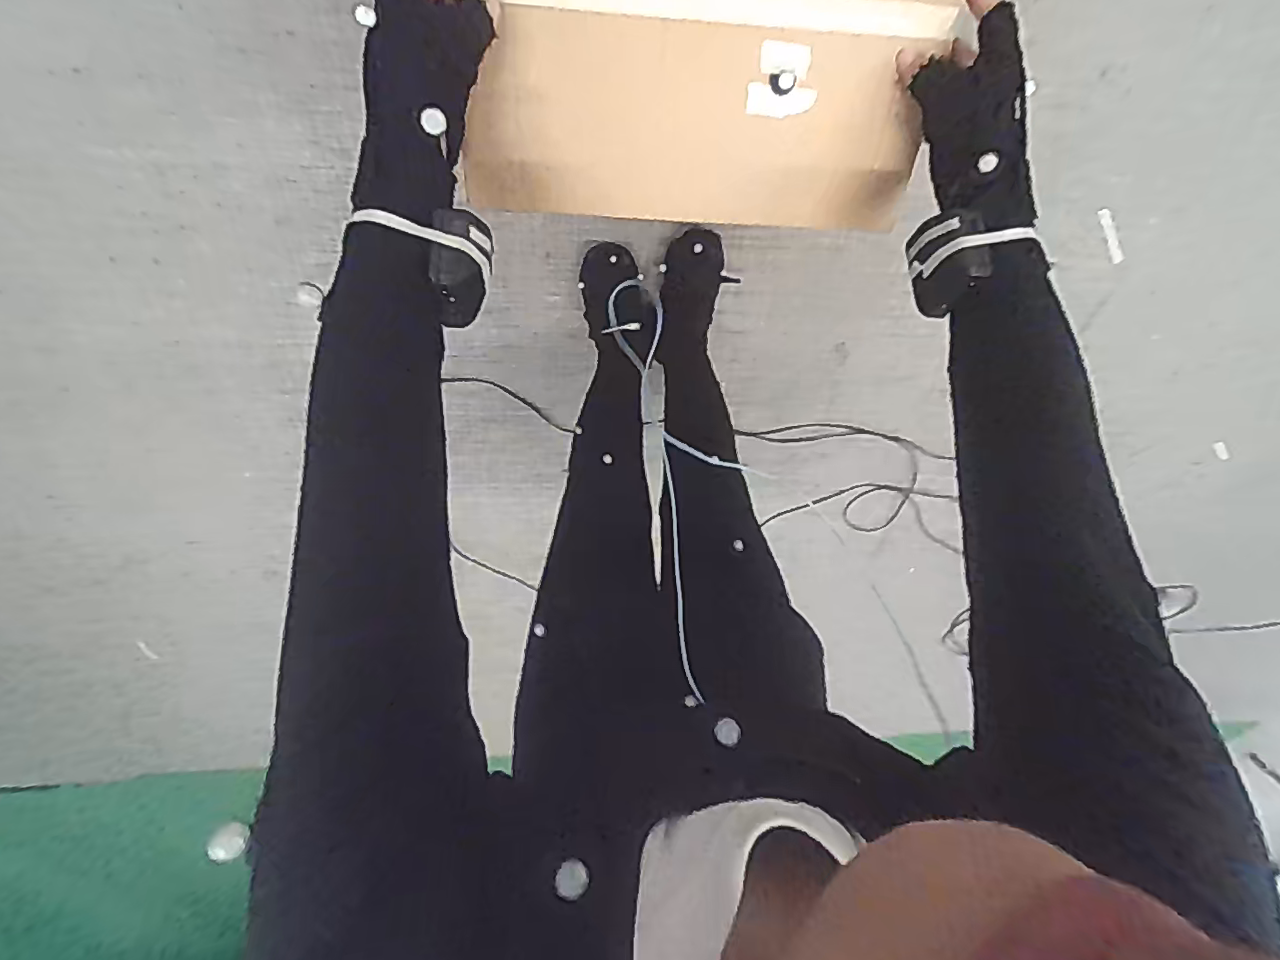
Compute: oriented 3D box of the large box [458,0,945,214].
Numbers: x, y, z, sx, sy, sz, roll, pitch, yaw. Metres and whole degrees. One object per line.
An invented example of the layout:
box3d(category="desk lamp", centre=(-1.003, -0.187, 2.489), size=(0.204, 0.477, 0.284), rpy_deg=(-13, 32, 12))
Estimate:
box3d(category="large box", centre=(0.042, -0.472, 0.555), size=(0.408, 0.320, 0.320), rpy_deg=(1, 125, -5))
